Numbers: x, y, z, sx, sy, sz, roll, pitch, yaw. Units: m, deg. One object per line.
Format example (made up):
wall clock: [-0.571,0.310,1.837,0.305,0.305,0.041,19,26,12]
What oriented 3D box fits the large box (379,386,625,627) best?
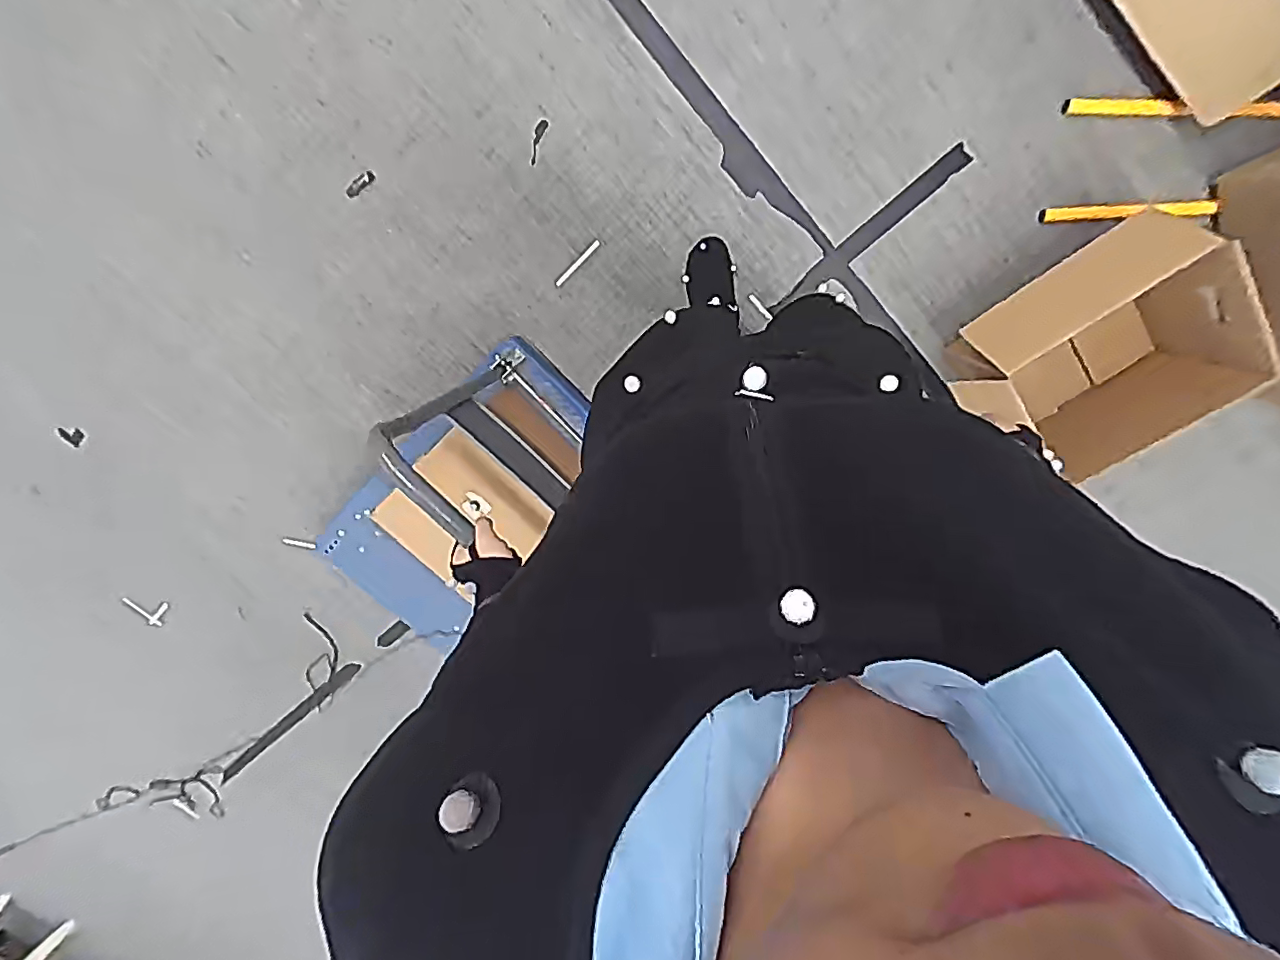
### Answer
large box: [-0.292,0.052,1.267,0.320,0.320,0.408,-40,103,19]
